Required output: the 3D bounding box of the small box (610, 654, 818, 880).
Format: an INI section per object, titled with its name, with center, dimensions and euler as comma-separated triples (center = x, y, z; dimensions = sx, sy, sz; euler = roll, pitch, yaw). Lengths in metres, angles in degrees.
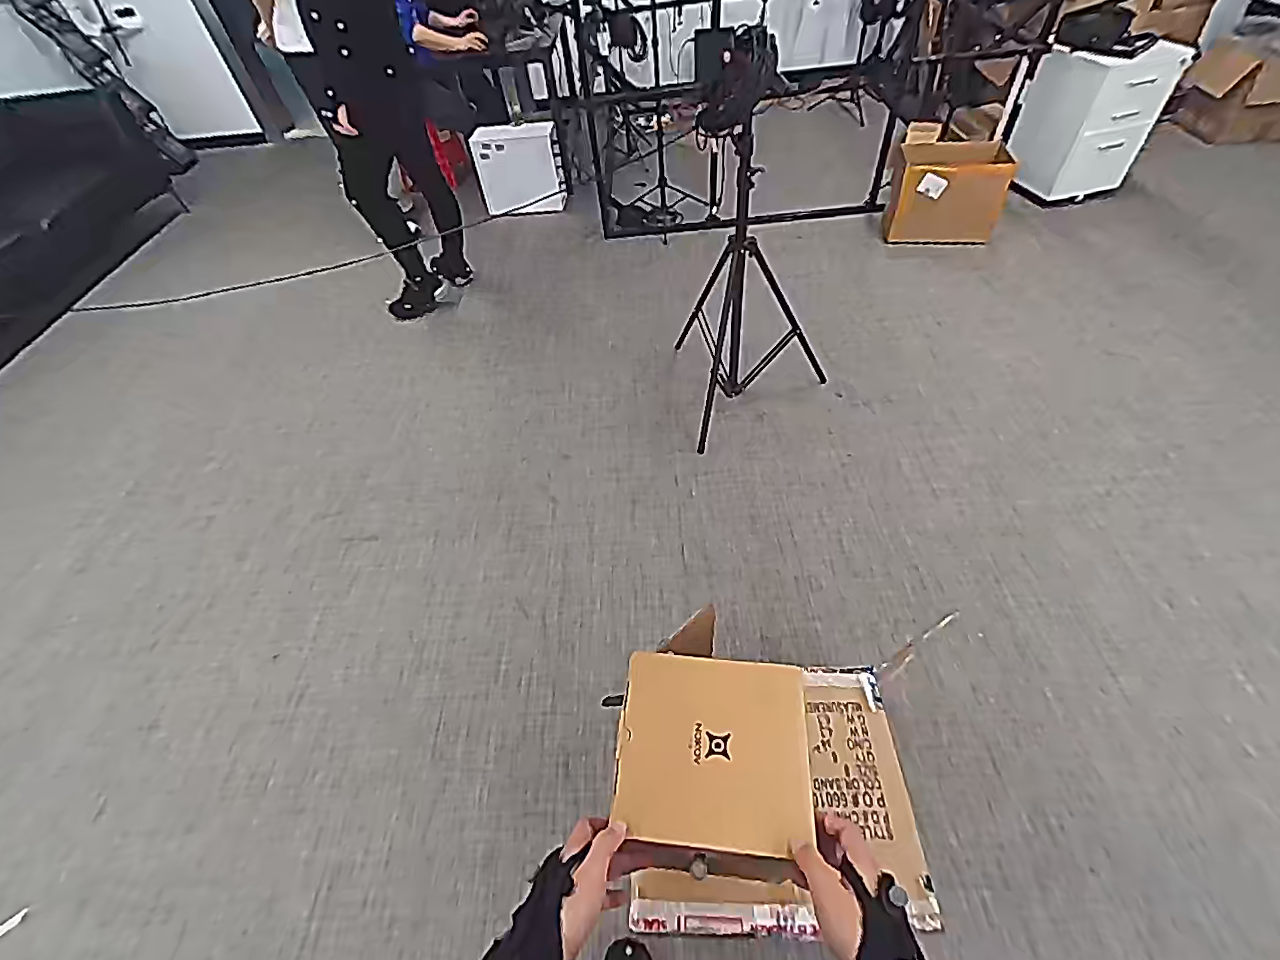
[small box]
center = 0.074, 0.300, 0.562
dimensions = 0.179, 0.176, 0.168
euler = 2, 48, 7
